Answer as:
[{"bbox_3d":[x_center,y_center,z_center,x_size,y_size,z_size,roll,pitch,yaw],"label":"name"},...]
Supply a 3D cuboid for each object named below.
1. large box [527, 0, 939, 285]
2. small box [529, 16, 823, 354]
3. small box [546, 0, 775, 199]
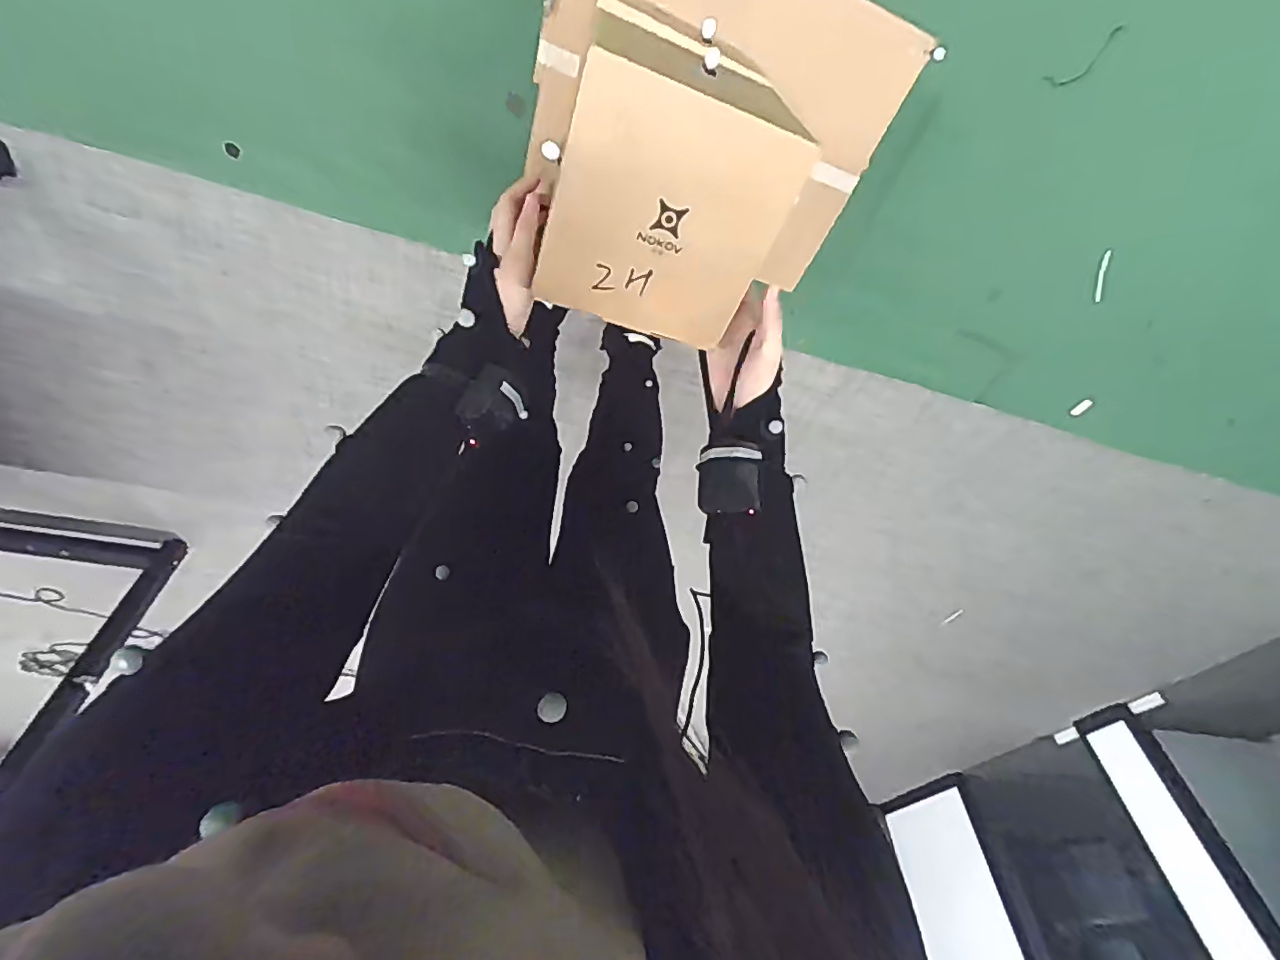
[{"bbox_3d":[0.083,-0.528,0.738,0.408,0.320,0.320,13,135,-15],"label":"large box"},{"bbox_3d":[0.014,-0.241,0.447,0.168,0.176,0.179,14,134,-15],"label":"small box"},{"bbox_3d":[0.009,-0.365,0.557,0.168,0.176,0.179,14,134,-16],"label":"small box"}]
